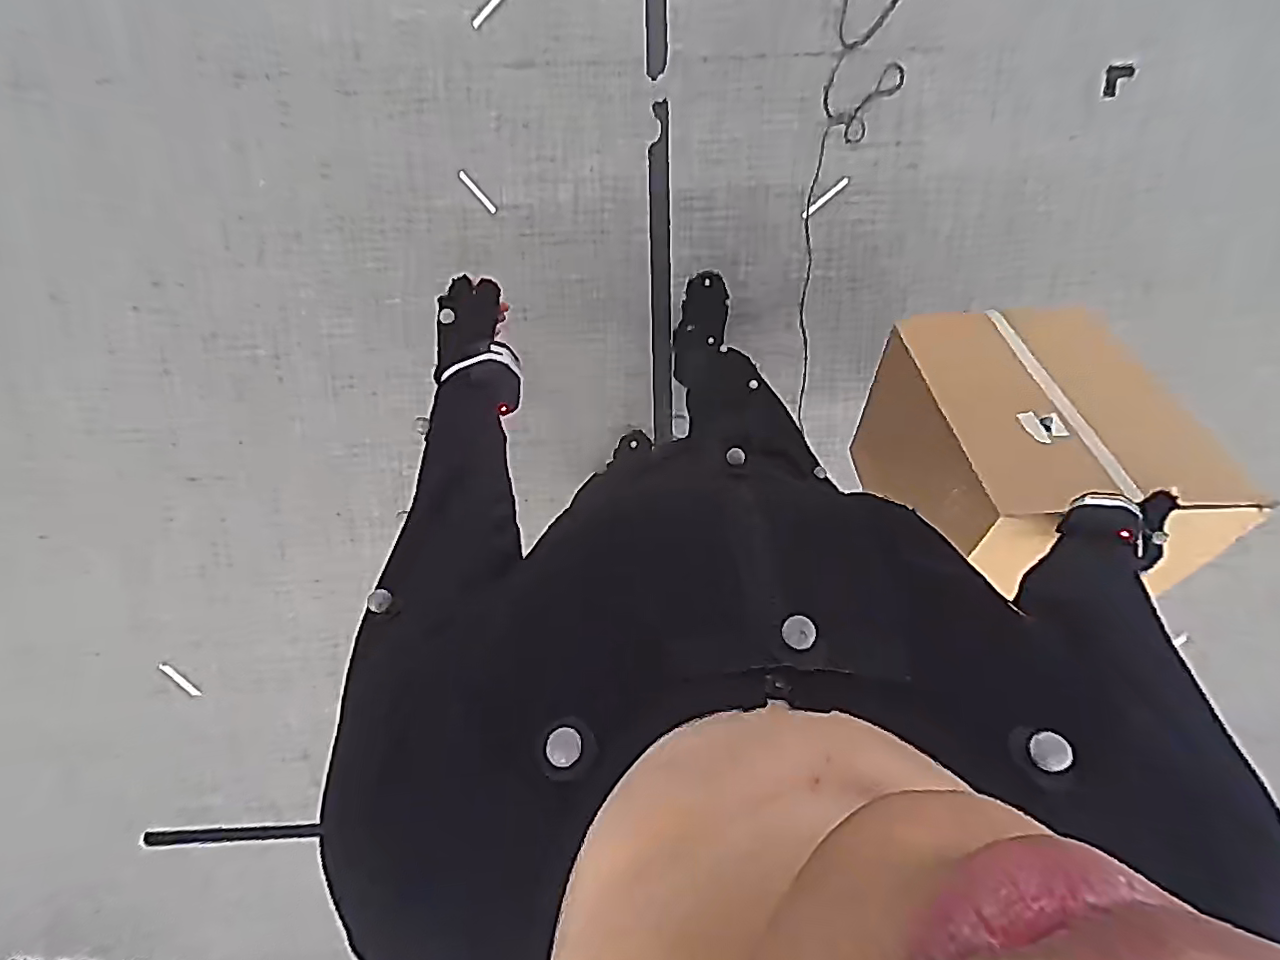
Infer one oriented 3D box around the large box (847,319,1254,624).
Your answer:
[{"bbox_3d":[0.581,-0.018,0.885,0.320,0.408,0.320,-2,140,1],"label":"large box"}]
